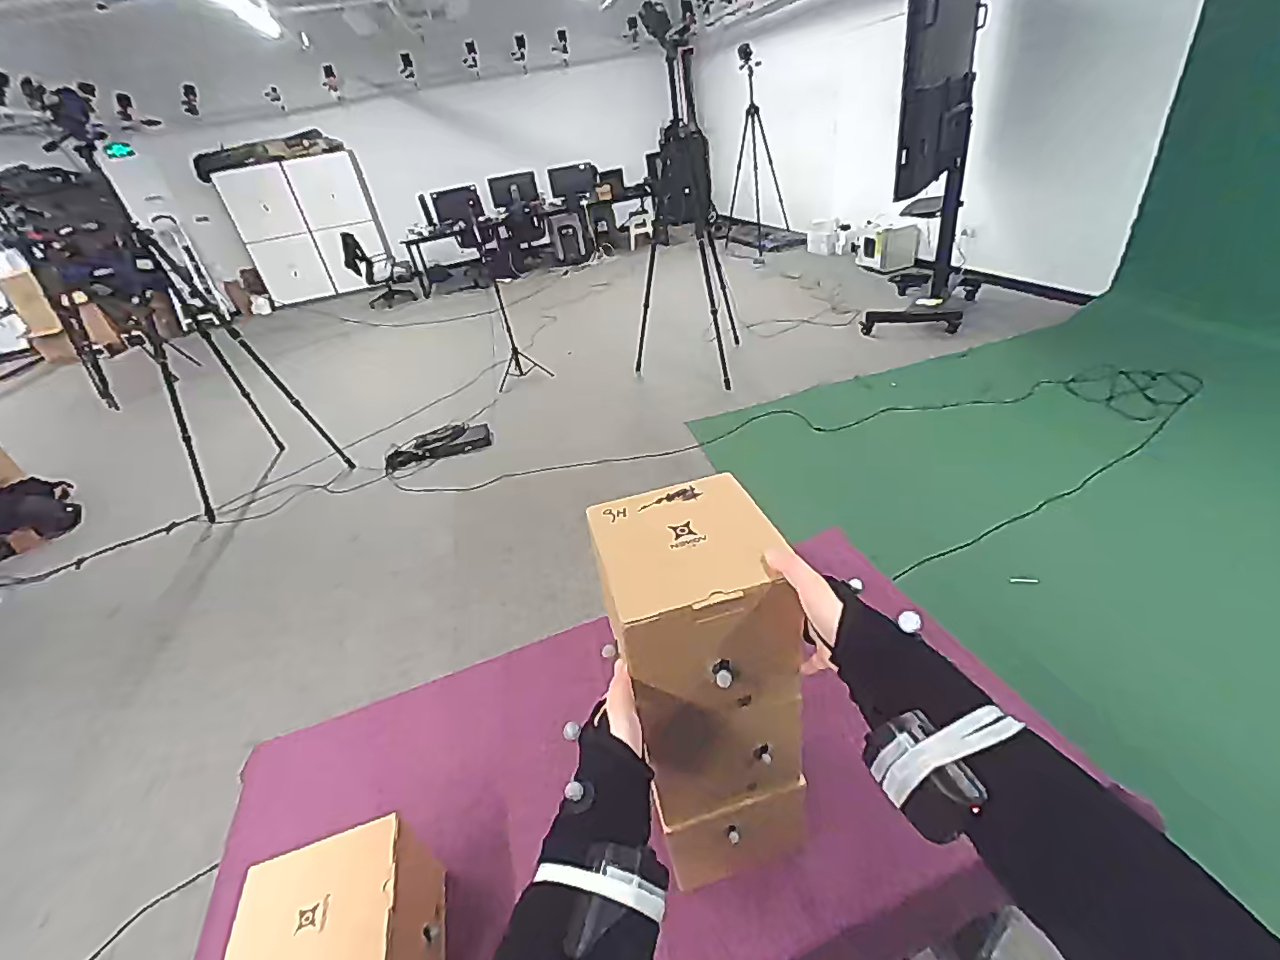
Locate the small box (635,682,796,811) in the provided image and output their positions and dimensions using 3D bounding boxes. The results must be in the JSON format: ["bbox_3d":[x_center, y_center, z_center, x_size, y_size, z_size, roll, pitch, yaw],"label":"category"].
[{"bbox_3d":[0.076,0.260,0.646,0.168,0.176,0.179,-14,32,-6],"label":"small box"}]

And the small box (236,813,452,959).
[{"bbox_3d":[-0.340,0.548,0.643,0.179,0.176,0.168,-17,33,-9],"label":"small box"}]

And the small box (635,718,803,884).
[{"bbox_3d":[0.106,0.399,0.726,0.179,0.176,0.168,-15,33,-5],"label":"small box"}]

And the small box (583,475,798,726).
[{"bbox_3d":[0.048,0.125,0.557,0.168,0.176,0.179,-14,34,-8],"label":"small box"}]
